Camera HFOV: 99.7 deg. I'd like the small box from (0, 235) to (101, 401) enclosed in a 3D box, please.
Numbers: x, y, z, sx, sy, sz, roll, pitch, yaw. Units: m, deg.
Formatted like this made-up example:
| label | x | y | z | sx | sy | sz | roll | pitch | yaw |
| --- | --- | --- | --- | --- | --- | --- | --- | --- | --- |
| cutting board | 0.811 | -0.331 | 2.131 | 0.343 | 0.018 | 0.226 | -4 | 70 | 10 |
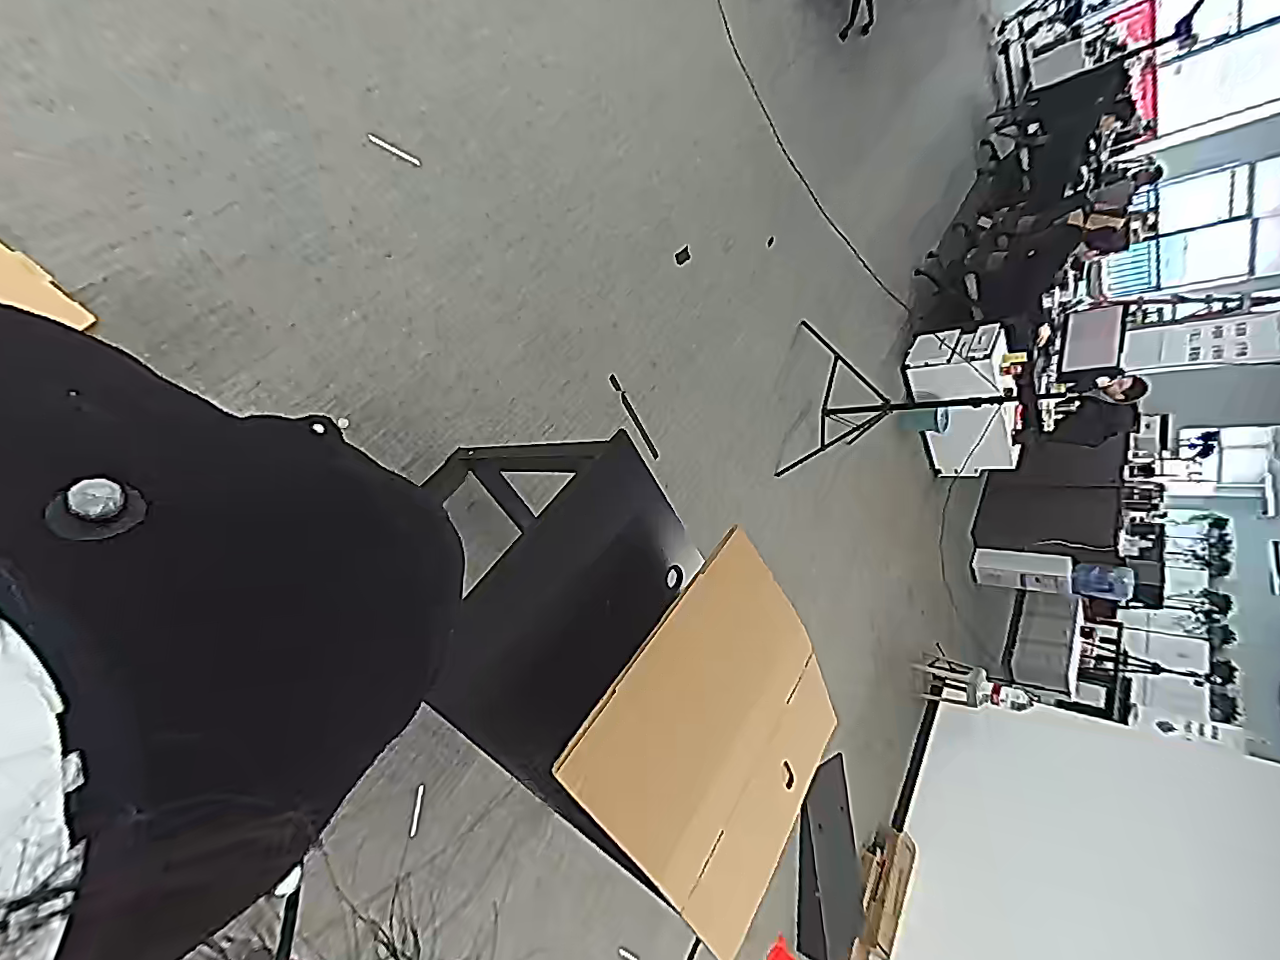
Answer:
| label | x | y | z | sx | sy | sz | roll | pitch | yaw |
| --- | --- | --- | --- | --- | --- | --- | --- | --- | --- |
| small box | -0.888 | -0.217 | 0.721 | 0.168 | 0.176 | 0.179 | 52 | 56 | -32 |
